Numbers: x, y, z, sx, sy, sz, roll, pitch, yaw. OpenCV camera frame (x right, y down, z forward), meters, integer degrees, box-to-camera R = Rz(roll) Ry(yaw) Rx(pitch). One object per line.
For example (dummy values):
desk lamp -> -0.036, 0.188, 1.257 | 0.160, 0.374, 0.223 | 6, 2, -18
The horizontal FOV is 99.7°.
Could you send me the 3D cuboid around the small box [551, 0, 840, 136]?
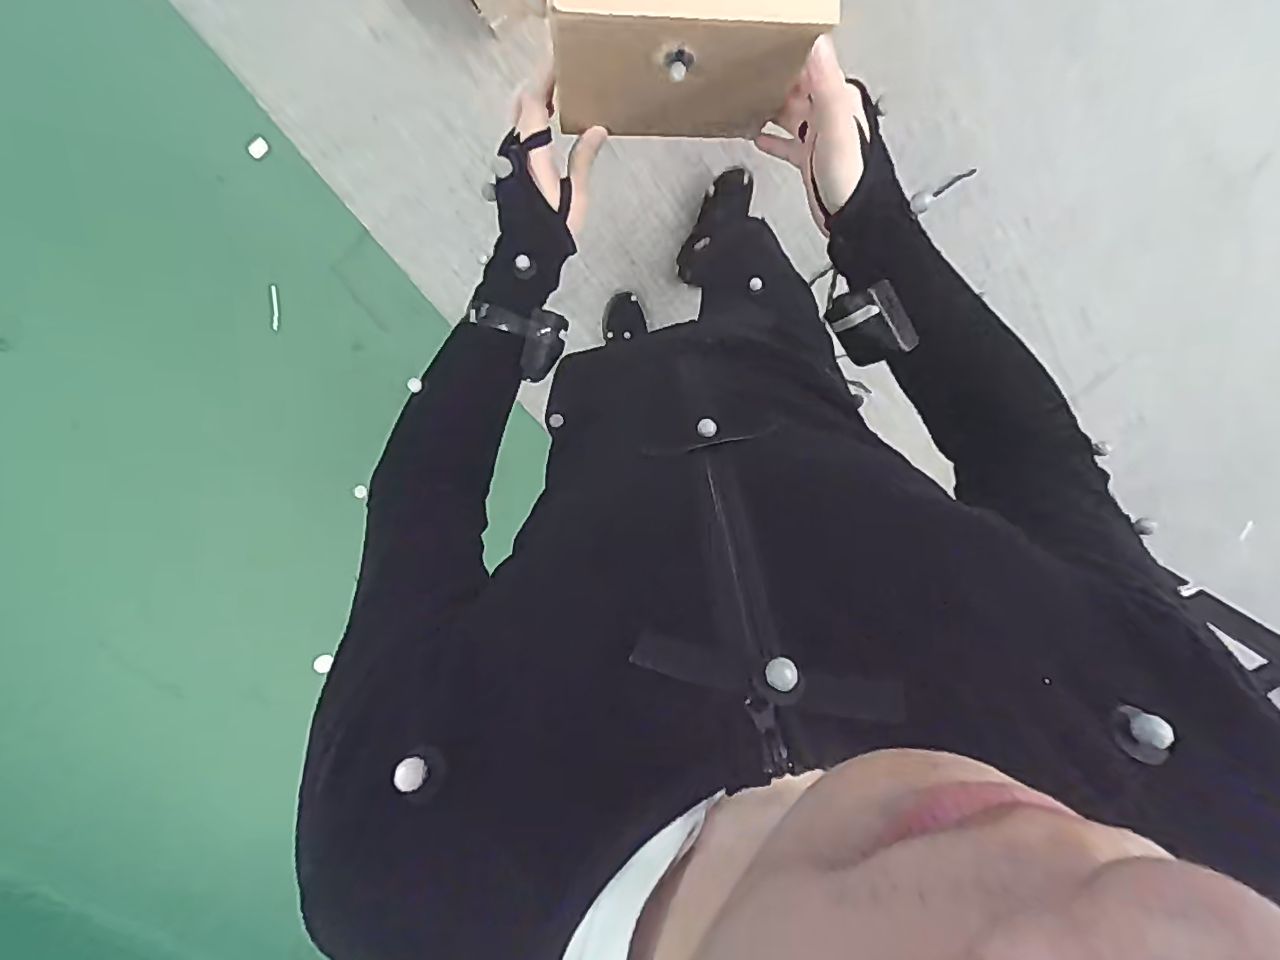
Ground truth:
small box -> 0.026, -0.367, 0.379 | 0.179, 0.176, 0.168 | -1, 101, -6
